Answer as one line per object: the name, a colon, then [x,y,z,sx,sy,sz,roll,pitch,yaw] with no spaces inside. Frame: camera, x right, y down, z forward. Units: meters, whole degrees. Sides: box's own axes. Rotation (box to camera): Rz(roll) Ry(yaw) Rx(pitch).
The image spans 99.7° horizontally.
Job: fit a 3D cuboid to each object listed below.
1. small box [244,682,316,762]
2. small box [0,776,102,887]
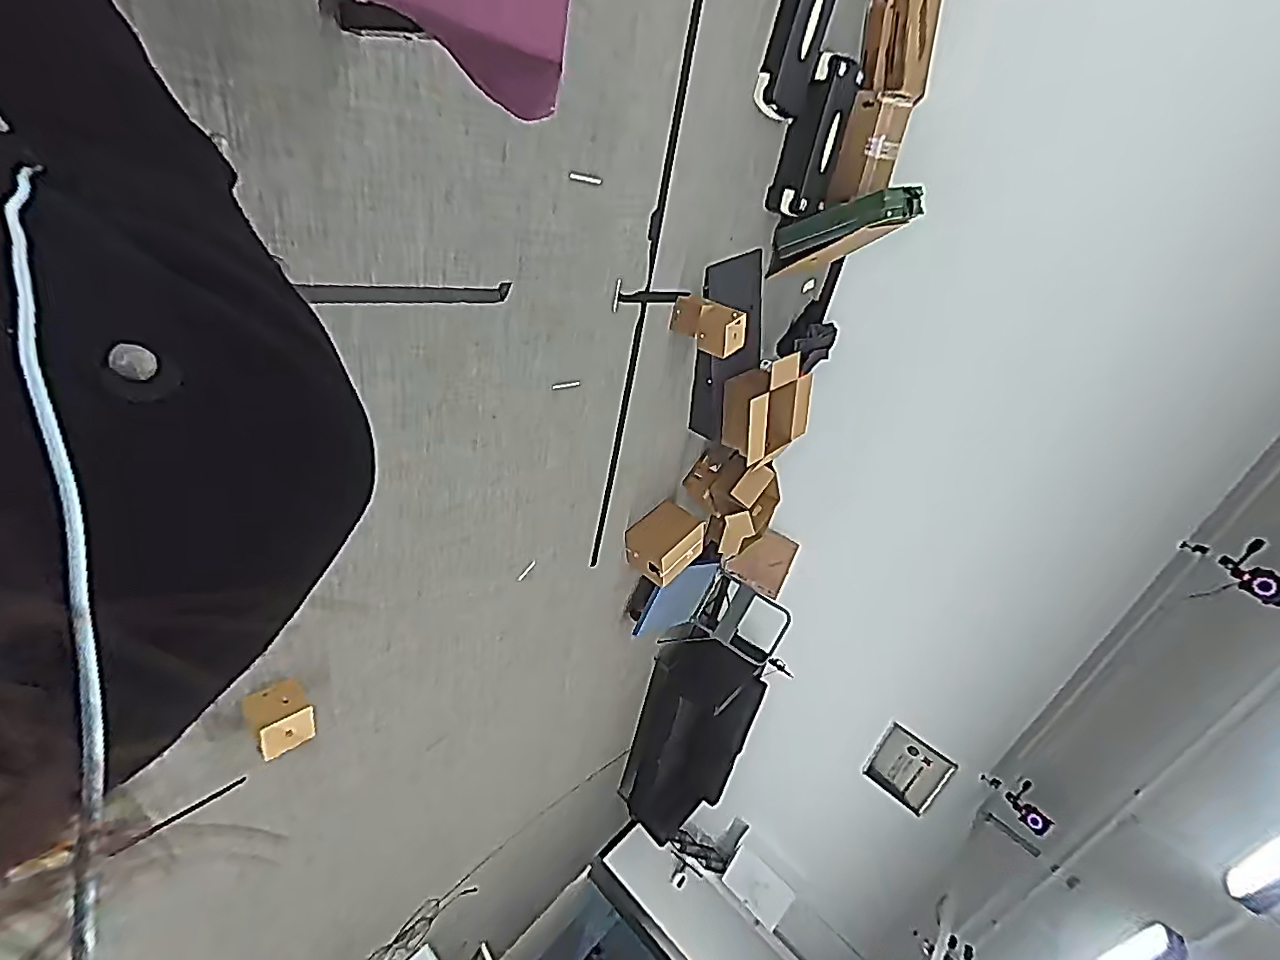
small box: [-1.301,0.861,1.952,0.168,0.176,0.179,-20,133,-47]
small box: [-1.667,0.977,1.526,0.168,0.176,0.179,-17,131,-47]
